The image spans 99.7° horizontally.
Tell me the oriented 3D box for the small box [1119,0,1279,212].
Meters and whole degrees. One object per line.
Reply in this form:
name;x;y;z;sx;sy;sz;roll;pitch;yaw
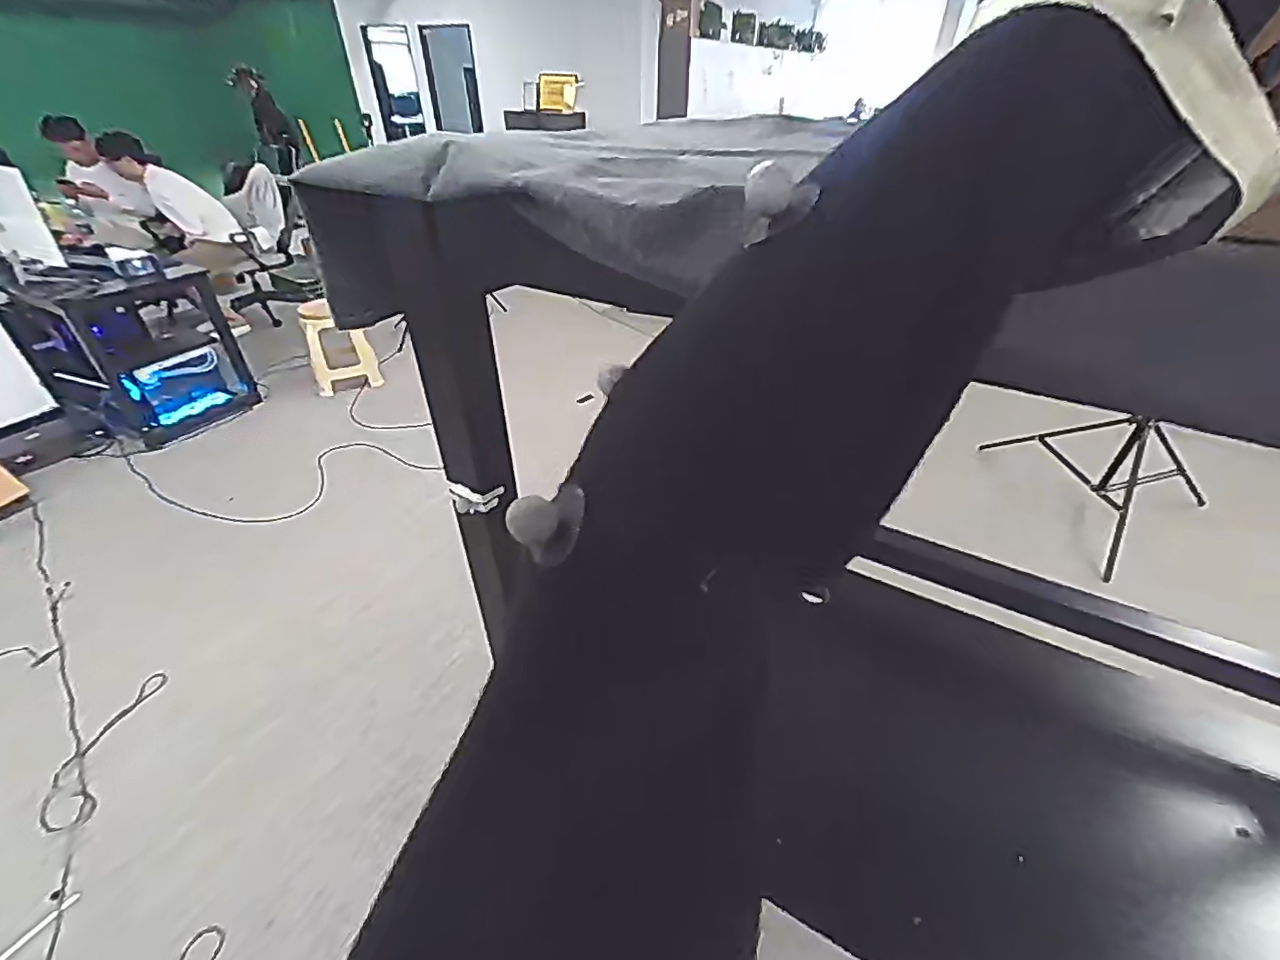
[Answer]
small box;0.331;-0.199;0.211;0.168;0.176;0.179;20;39;24
